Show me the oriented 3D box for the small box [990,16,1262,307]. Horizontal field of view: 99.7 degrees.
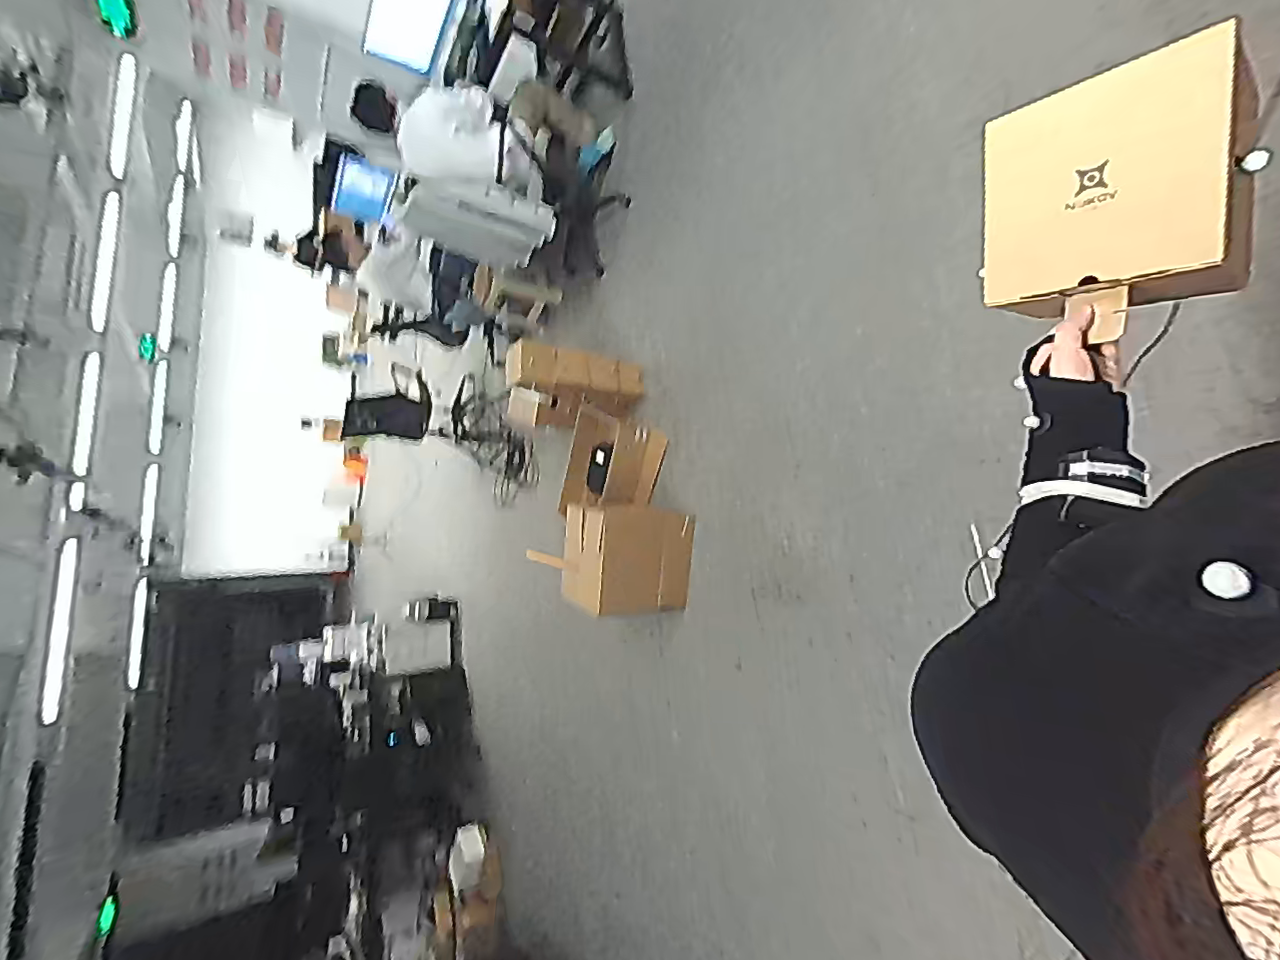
[{"bbox_3d":[0.463,-0.274,0.520,0.168,0.176,0.179,7,102,51],"label":"small box"}]
